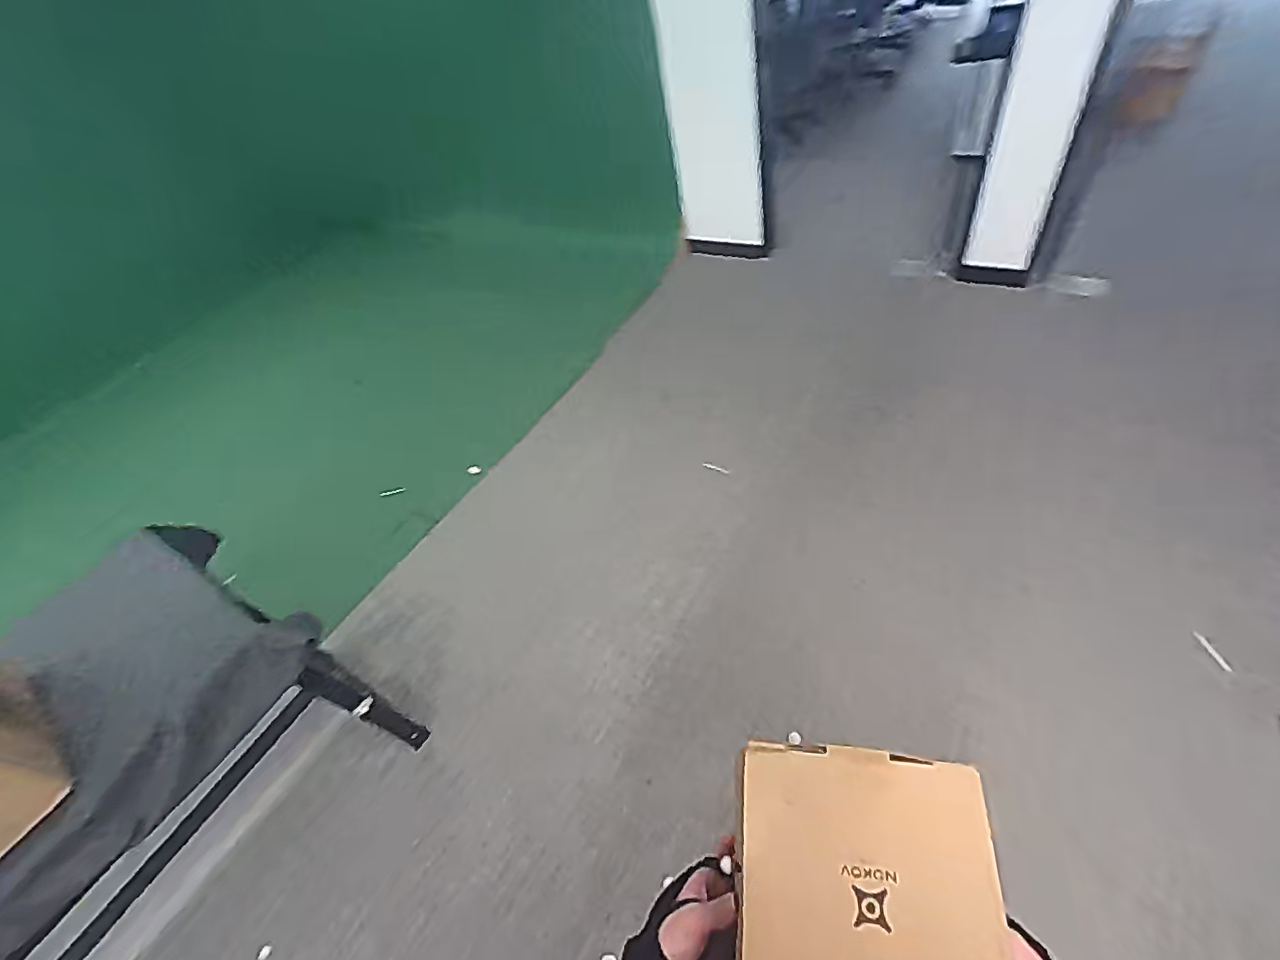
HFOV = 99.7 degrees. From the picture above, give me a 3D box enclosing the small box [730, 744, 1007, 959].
[{"bbox_3d":[0.158,0.317,0.425,0.168,0.176,0.179,1,62,9],"label":"small box"}]
